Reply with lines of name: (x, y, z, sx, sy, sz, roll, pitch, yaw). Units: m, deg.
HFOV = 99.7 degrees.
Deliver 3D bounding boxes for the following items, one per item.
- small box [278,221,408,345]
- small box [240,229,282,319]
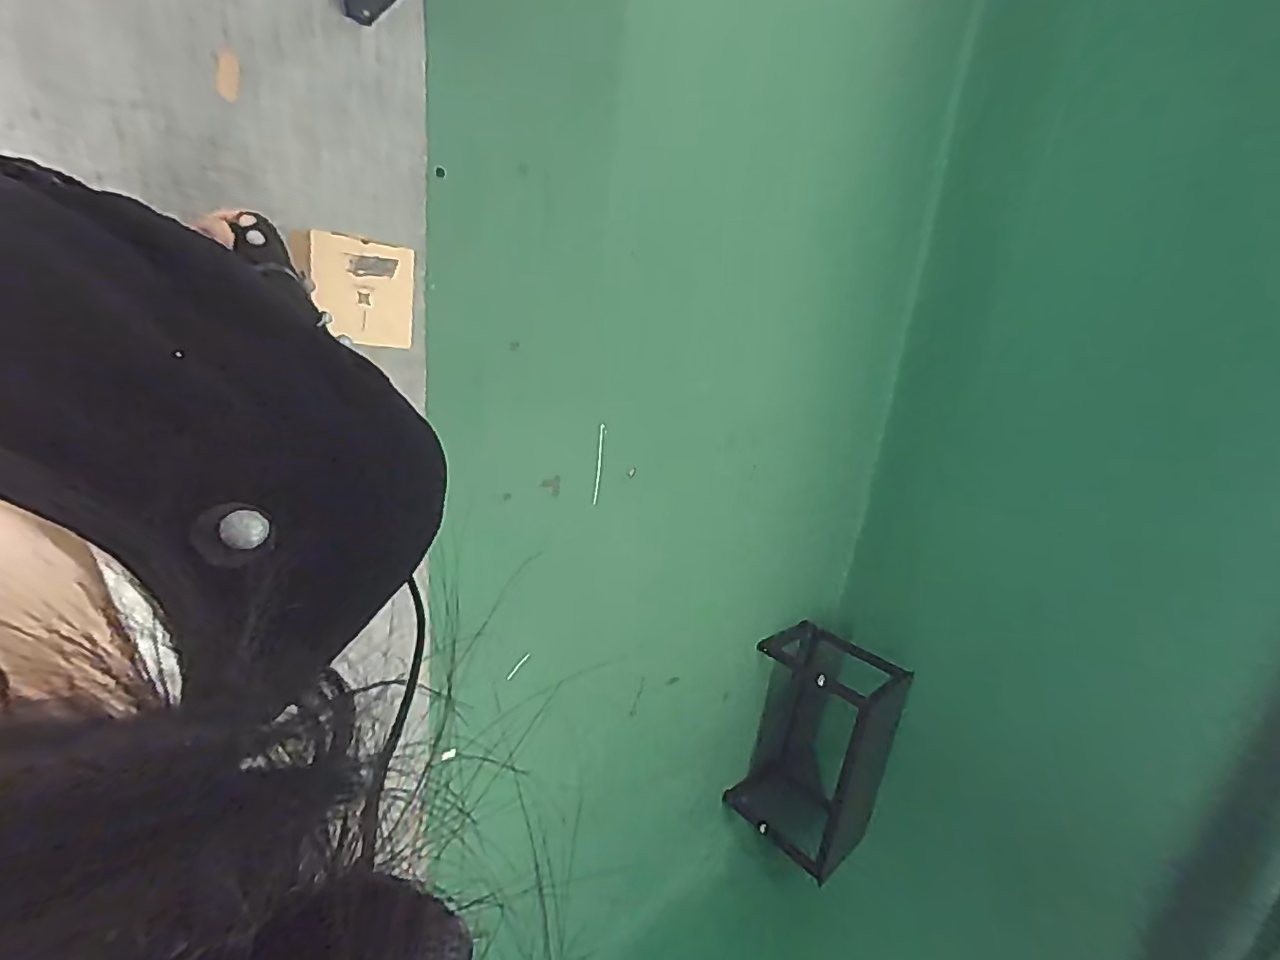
small box: (-0.535, -0.349, 0.970, 0.168, 0.176, 0.179, -6, 112, -45)
small box: (-0.760, -0.434, 1.194, 0.179, 0.176, 0.168, 6, 102, -46)
